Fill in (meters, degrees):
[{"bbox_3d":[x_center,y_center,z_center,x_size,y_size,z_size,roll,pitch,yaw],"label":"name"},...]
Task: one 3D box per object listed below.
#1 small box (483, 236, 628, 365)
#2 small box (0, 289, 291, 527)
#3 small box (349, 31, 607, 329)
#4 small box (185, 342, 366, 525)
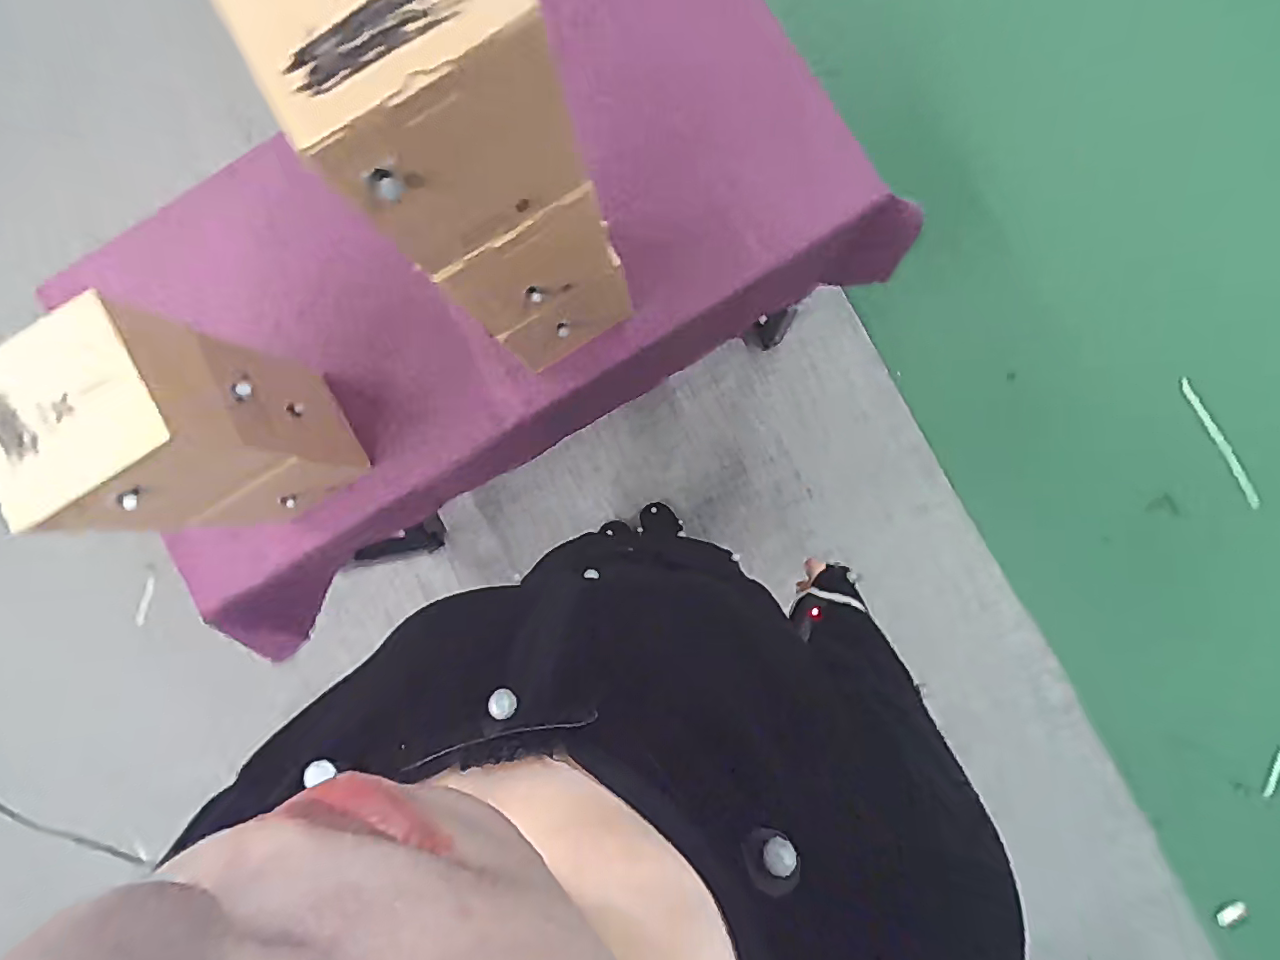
[{"bbox_3d":[-0.132,-0.279,0.727,0.179,0.176,0.168,-32,86,3],"label":"small box"},{"bbox_3d":[-0.533,-0.062,0.580,0.179,0.176,0.168,-31,86,1],"label":"small box"},{"bbox_3d":[-0.151,-0.291,0.565,0.168,0.176,0.179,-31,86,2],"label":"small box"},{"bbox_3d":[-0.520,-0.055,0.745,0.168,0.176,0.179,-31,85,2],"label":"small box"}]
